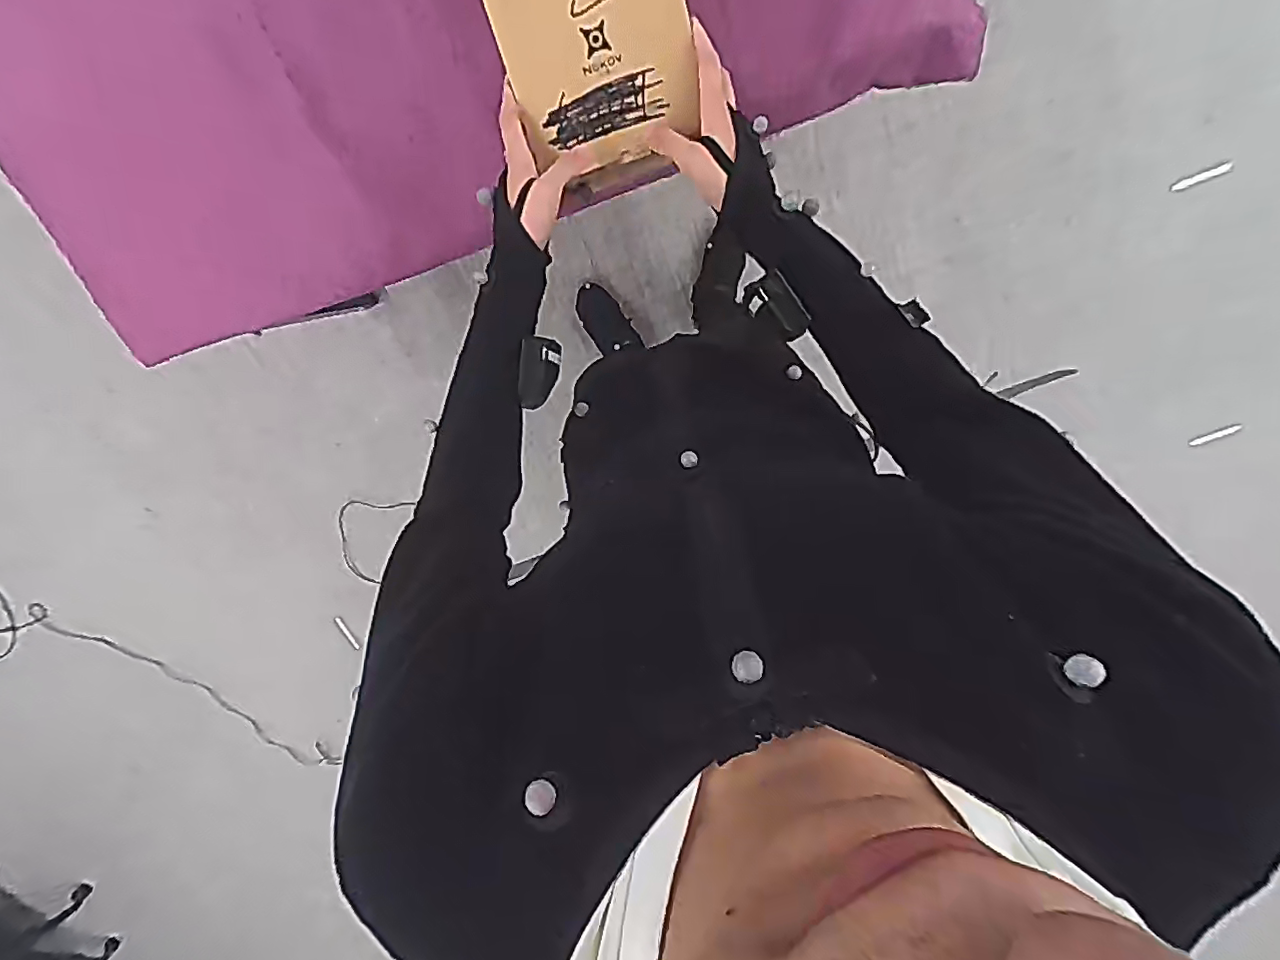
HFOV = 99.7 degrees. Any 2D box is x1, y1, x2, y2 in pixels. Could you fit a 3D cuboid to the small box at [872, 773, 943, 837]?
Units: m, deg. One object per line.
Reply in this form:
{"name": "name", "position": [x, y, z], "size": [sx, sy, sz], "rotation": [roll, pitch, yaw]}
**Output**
{"name": "small box", "position": [1.078, 1.332, 2.188], "size": [0.168, 0.176, 0.179], "rotation": [-32, 110, 9]}

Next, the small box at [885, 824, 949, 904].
{"name": "small box", "position": [1.059, 1.462, 2.063], "size": [0.168, 0.176, 0.179], "rotation": [-18, 112, 3]}
